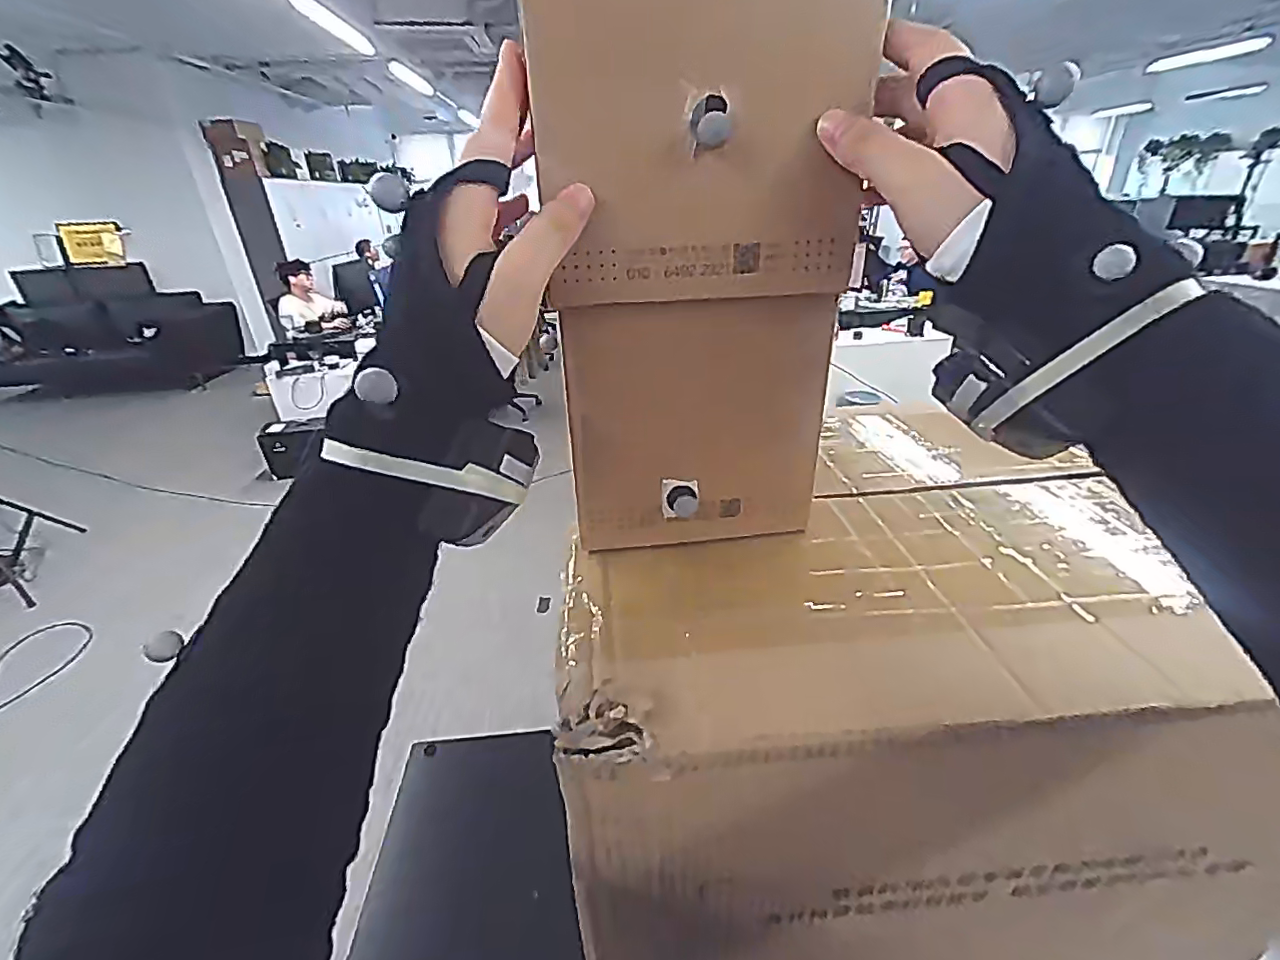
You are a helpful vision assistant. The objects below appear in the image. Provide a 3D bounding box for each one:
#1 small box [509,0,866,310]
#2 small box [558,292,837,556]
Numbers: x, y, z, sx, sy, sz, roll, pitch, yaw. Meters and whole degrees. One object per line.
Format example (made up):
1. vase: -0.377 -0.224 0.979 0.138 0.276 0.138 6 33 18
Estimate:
1. small box: 0.019 -0.202 0.329 0.168 0.176 0.179 -6 28 -6
2. small box: 0.026 -0.063 0.417 0.168 0.176 0.179 -7 28 -7
